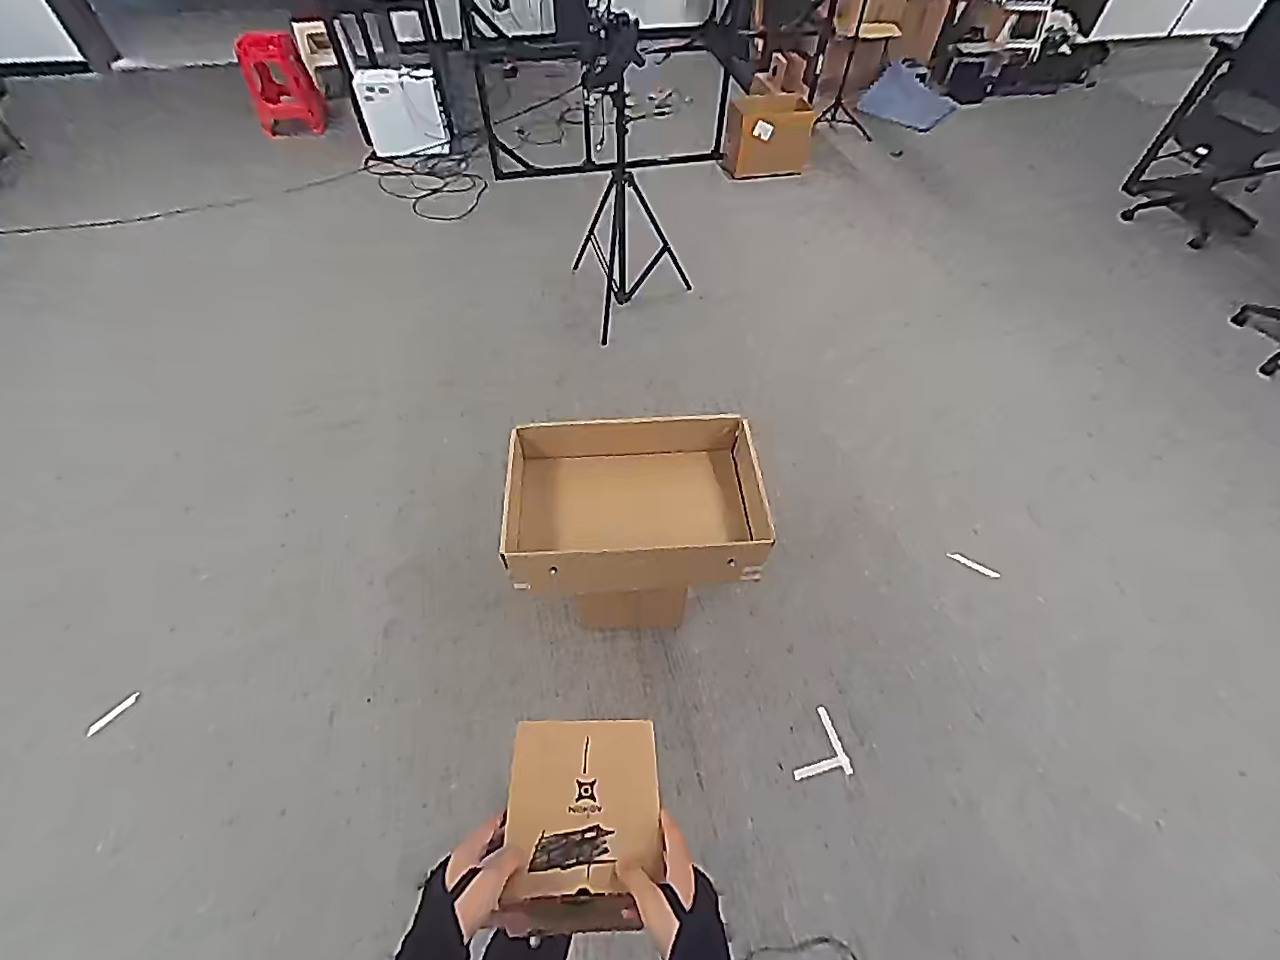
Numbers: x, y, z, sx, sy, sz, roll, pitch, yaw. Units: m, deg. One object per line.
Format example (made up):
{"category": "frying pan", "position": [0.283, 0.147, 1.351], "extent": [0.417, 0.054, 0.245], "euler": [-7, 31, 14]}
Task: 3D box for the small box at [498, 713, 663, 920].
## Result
{"category": "small box", "position": [-0.065, 0.400, 0.642], "extent": [0.168, 0.176, 0.179], "euler": [2, 40, -5]}
